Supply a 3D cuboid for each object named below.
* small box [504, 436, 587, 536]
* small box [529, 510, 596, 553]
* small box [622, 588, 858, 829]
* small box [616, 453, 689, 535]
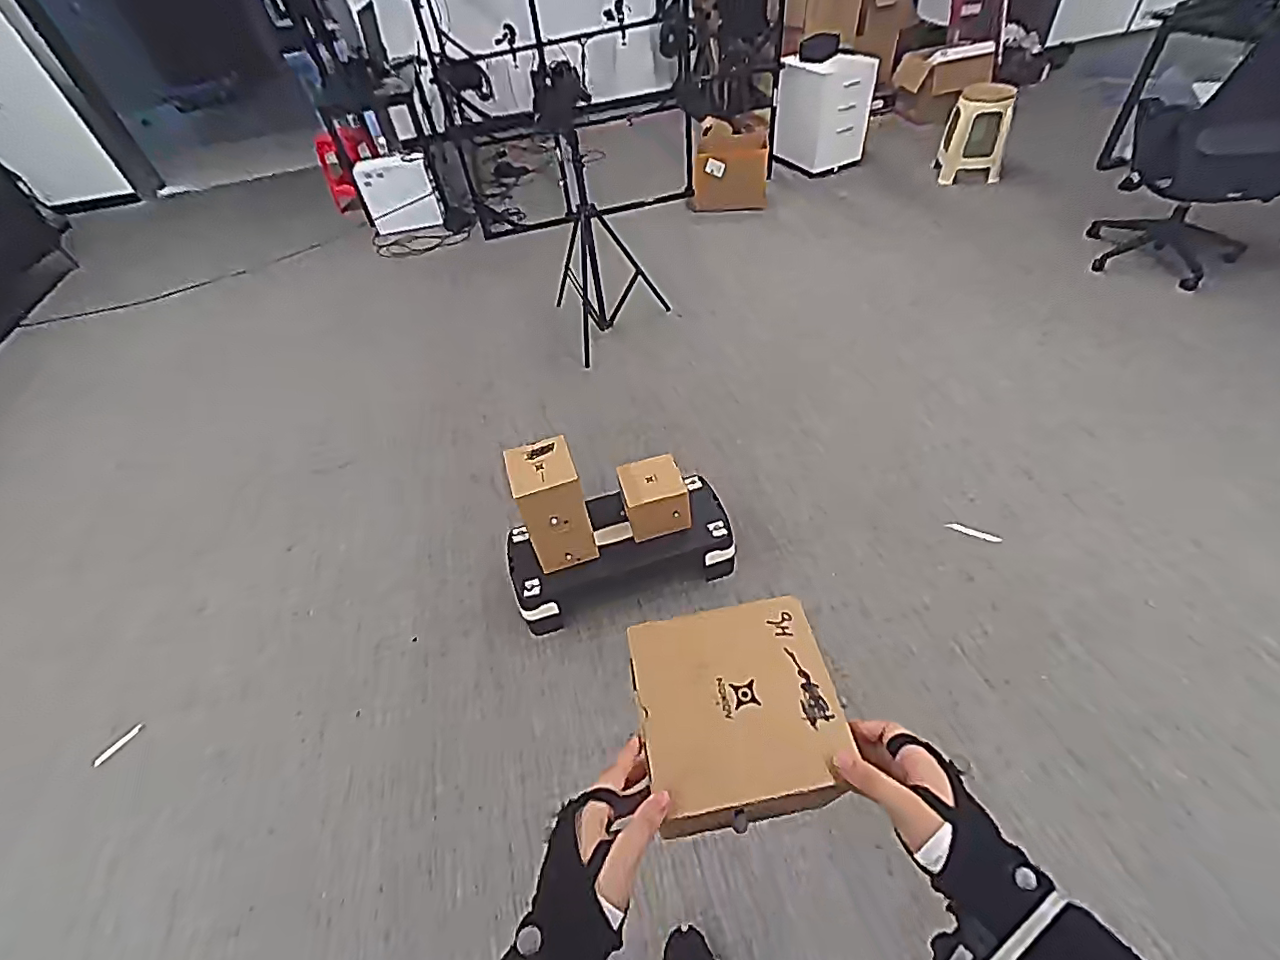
[{"bbox_3d":[-0.247,0.018,1.431,0.168,0.176,0.179,-17,49,-8],"label":"small box"},{"bbox_3d":[-0.228,0.131,1.549,0.168,0.176,0.179,-17,48,-7],"label":"small box"},{"bbox_3d":[0.087,0.233,0.542,0.179,0.176,0.168,-11,52,-2],"label":"small box"},{"bbox_3d":[0.040,0.053,1.587,0.179,0.176,0.168,-17,48,-5],"label":"small box"}]
